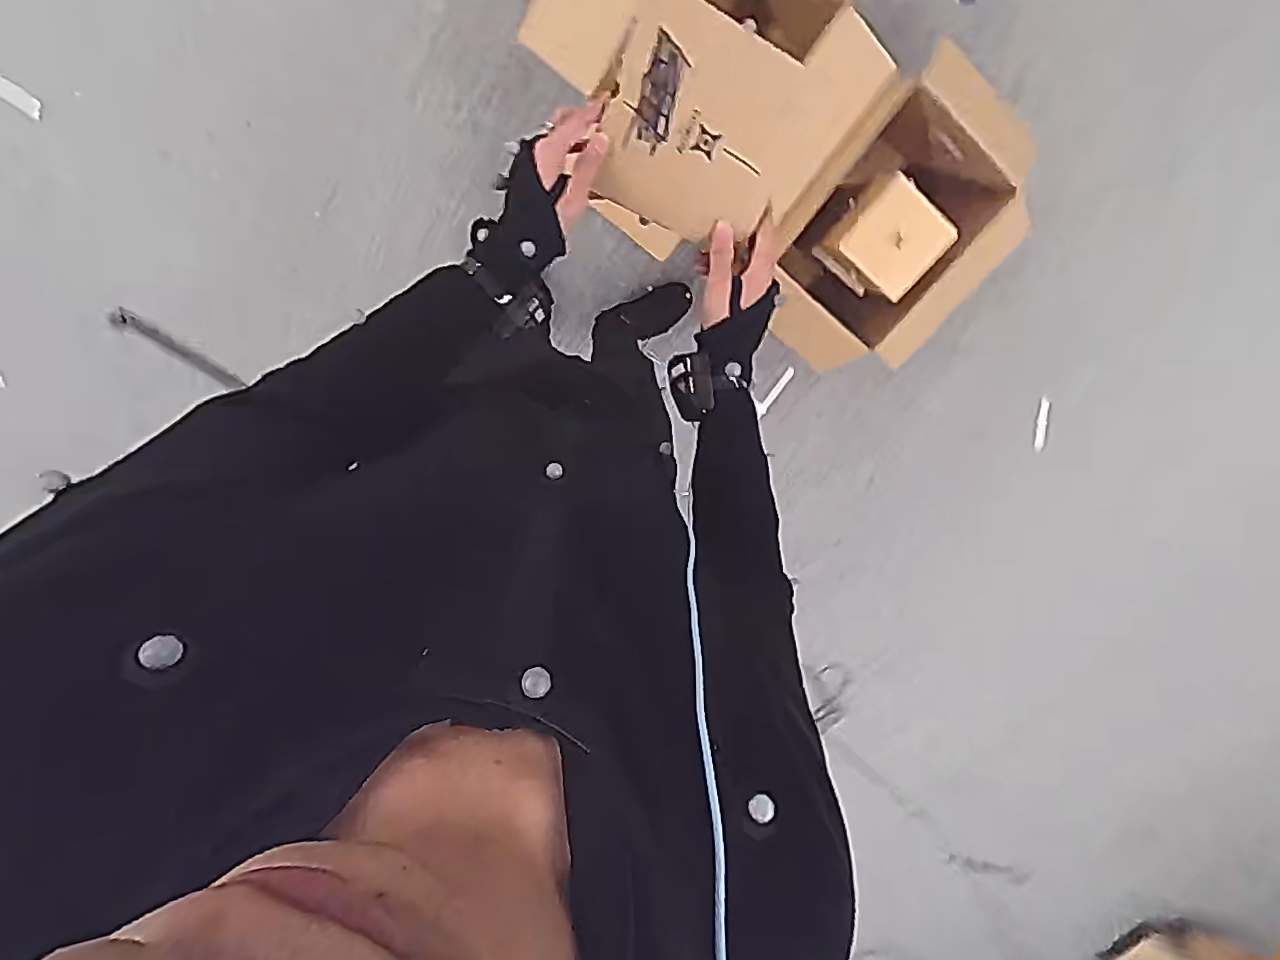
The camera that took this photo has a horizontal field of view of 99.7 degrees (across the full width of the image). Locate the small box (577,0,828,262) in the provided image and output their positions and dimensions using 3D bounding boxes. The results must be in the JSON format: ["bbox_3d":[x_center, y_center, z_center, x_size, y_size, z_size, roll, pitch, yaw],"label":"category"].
[{"bbox_3d":[0.053,-0.355,0.552,0.179,0.176,0.168,20,124,-13],"label":"small box"}]

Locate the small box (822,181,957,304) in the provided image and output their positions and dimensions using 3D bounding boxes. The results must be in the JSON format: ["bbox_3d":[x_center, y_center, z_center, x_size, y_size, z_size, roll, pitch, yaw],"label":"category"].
[{"bbox_3d":[0.522,-0.509,1.156,0.179,0.176,0.168,36,113,-14],"label":"small box"}]
